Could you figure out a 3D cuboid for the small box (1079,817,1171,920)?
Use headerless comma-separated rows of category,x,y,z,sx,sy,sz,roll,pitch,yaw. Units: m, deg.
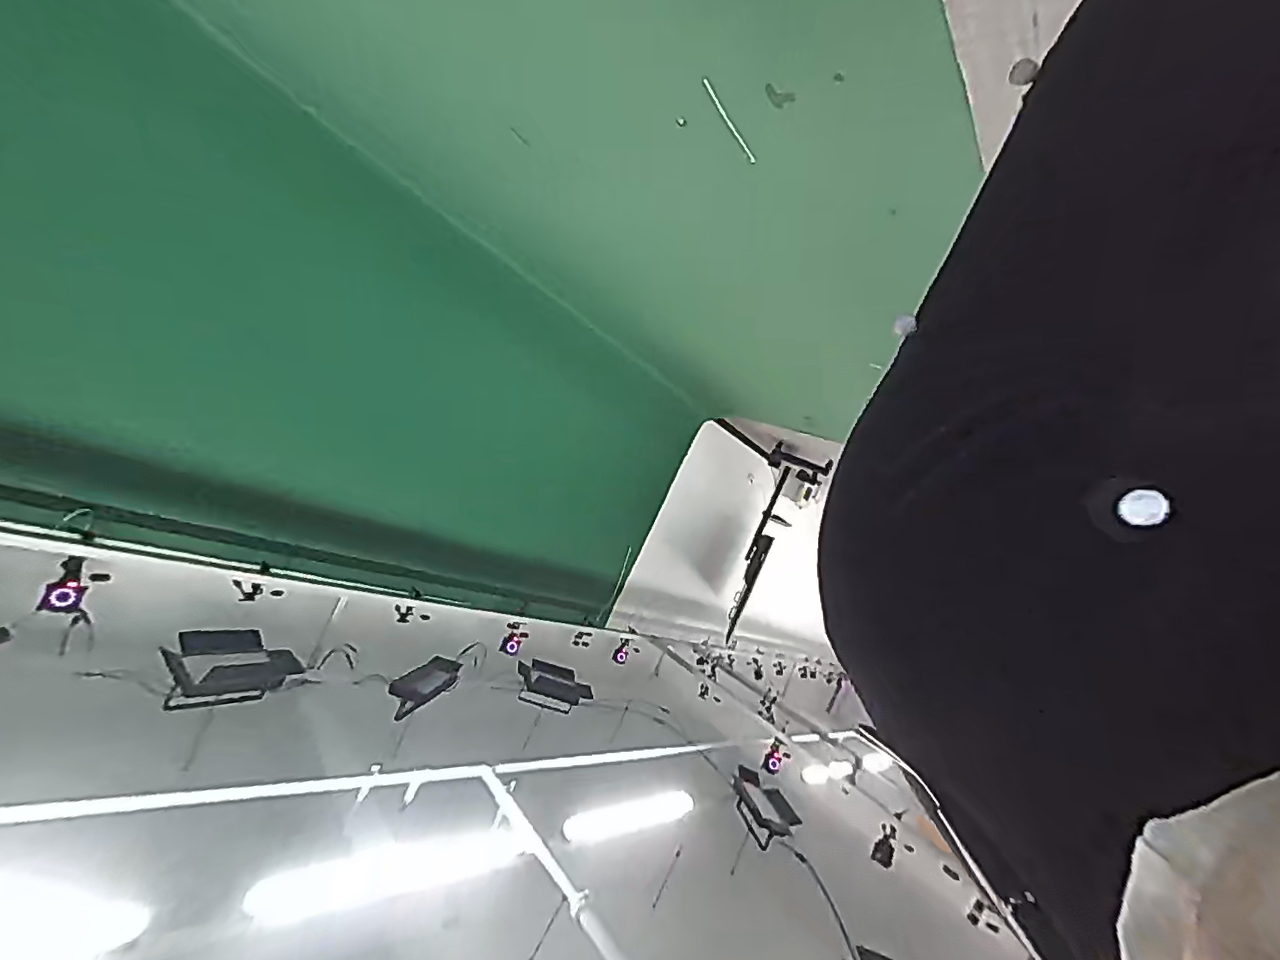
small box,1.443,1.148,1.614,0.168,0.176,0.179,25,180,42

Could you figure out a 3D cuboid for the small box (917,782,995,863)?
small box,1.110,1.183,1.893,0.179,0.176,0.168,24,180,42
